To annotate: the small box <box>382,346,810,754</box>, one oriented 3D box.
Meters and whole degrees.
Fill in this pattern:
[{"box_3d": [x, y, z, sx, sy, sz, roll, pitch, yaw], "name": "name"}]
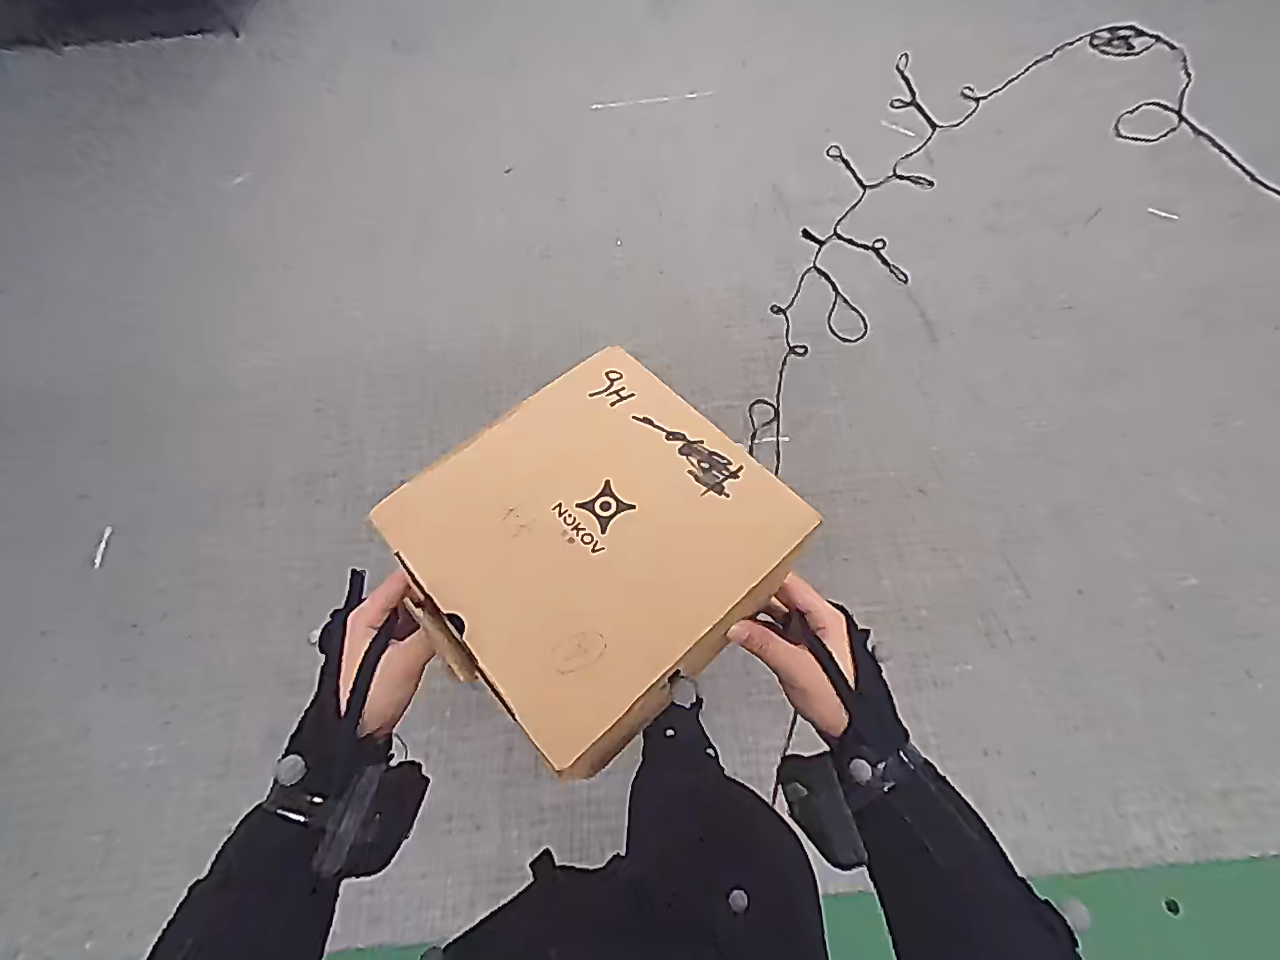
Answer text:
[{"box_3d": [-0.022, 0.056, 0.357, 0.179, 0.176, 0.168, -38, 67, -18], "name": "small box"}]
